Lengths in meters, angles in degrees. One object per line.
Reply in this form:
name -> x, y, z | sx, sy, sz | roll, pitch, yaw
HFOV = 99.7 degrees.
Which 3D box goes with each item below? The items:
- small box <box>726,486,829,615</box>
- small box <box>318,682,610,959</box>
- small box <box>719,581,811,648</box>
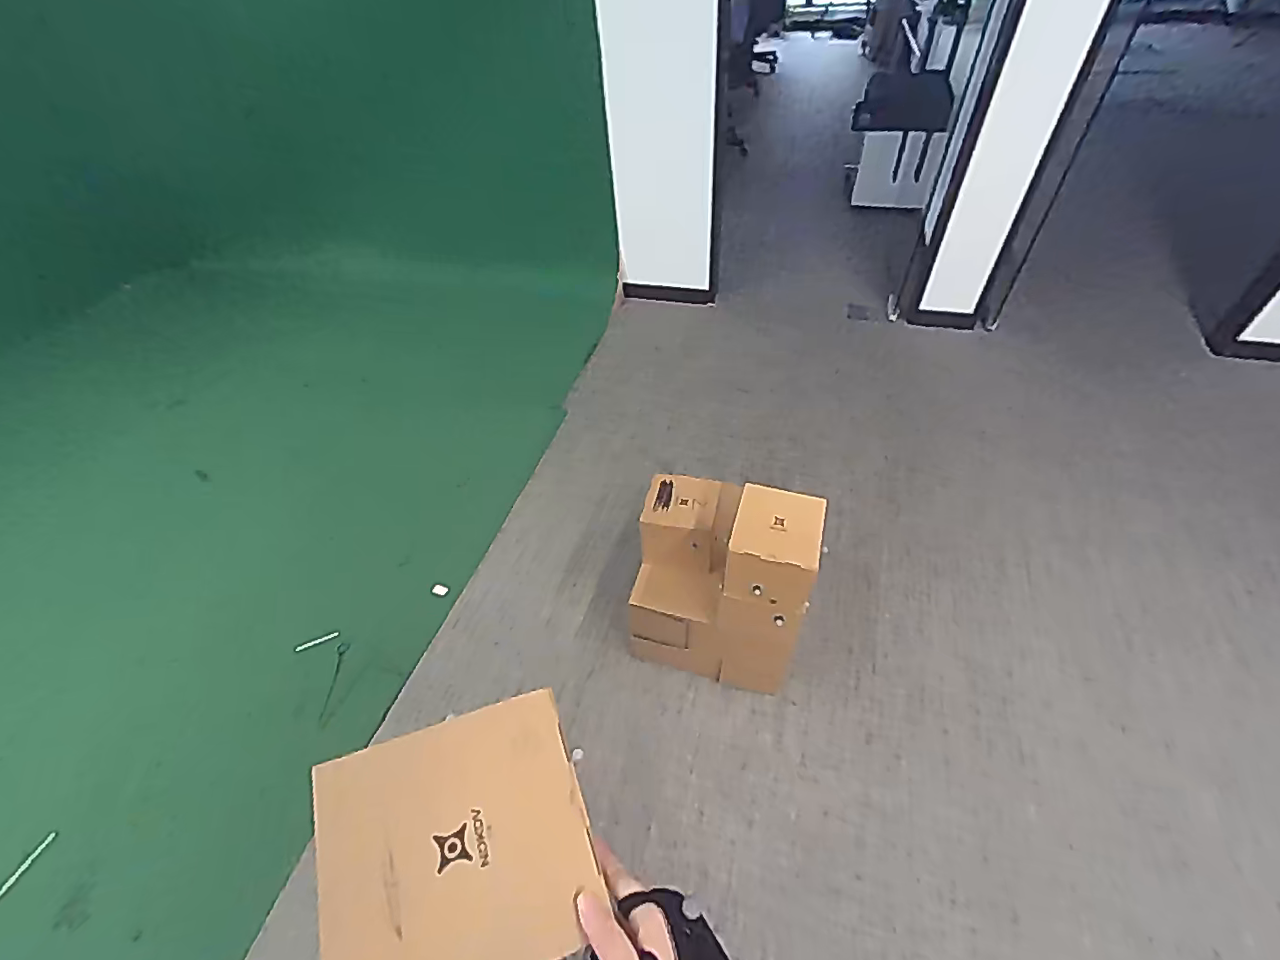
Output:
small box -> 0.275, 0.144, 1.099 | 0.168, 0.176, 0.179 | 12, 50, 14
small box -> -0.135, 0.289, 0.439 | 0.179, 0.176, 0.168 | -13, 57, -16
small box -> 0.283, 0.257, 1.217 | 0.179, 0.176, 0.168 | 12, 49, 14
